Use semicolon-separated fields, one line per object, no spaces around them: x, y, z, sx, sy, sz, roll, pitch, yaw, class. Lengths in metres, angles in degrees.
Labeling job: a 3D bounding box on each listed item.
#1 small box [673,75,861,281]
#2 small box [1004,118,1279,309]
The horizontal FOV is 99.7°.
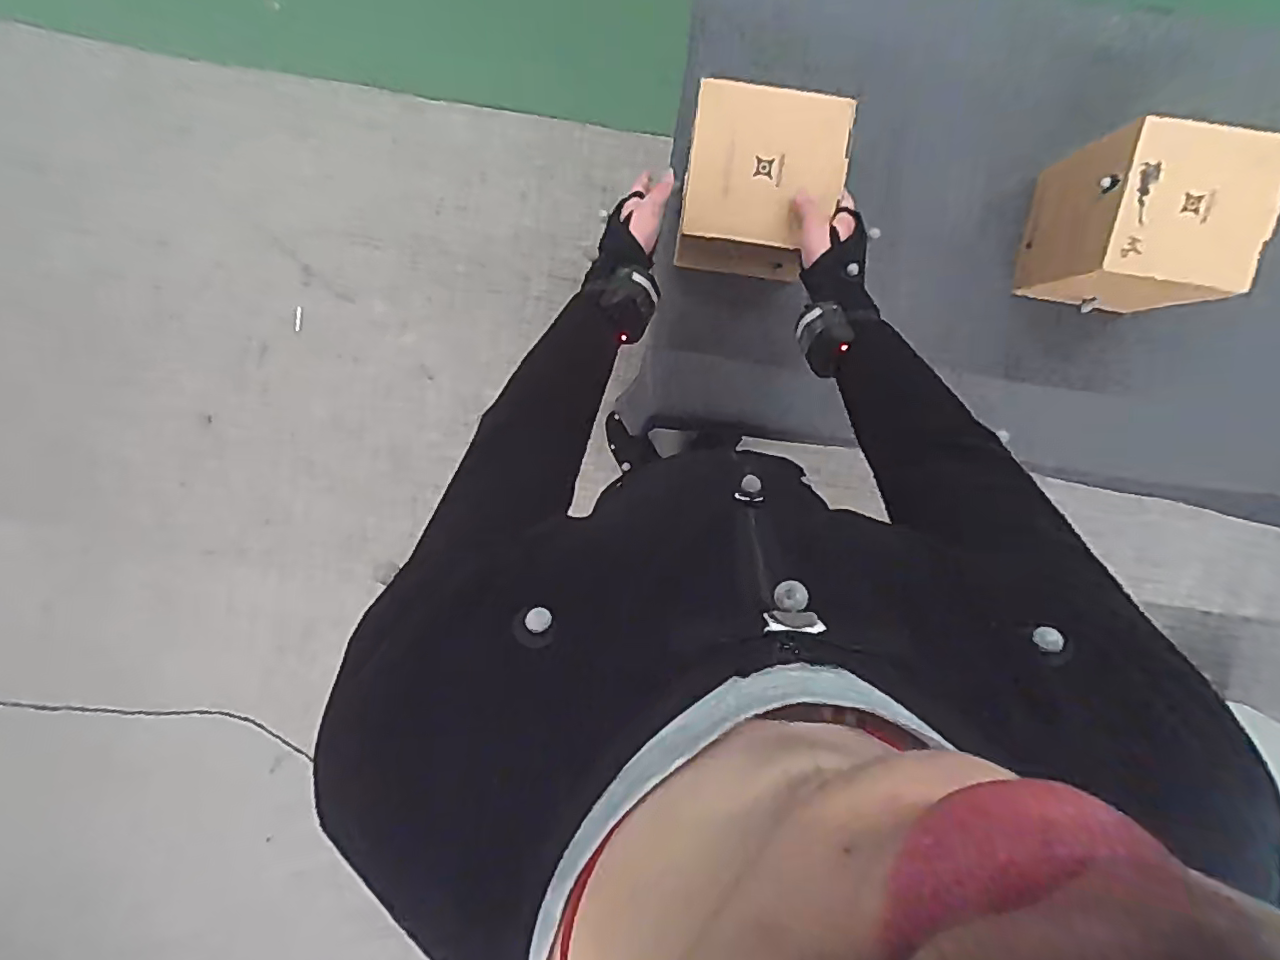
0.142;-0.354;0.670;0.179;0.176;0.168;6;98;-2;small box
0.622;-0.322;0.693;0.179;0.176;0.168;8;100;-4;small box
